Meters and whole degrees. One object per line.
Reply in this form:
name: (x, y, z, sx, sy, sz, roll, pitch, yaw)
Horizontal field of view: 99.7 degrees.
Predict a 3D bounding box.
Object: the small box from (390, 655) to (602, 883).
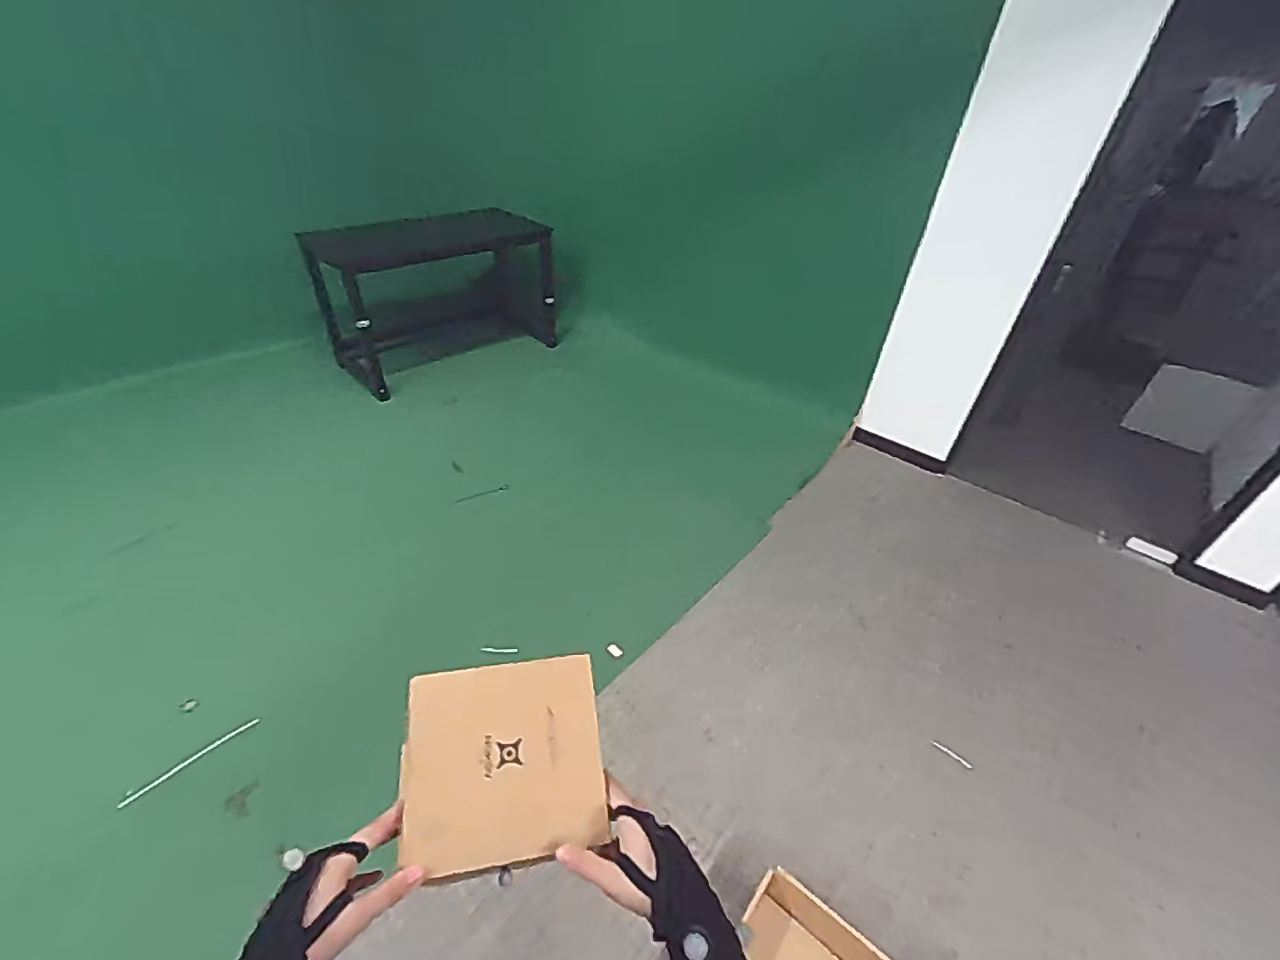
small box: (-0.137, 0.299, 0.558, 0.179, 0.176, 0.168, -5, 54, -11)
